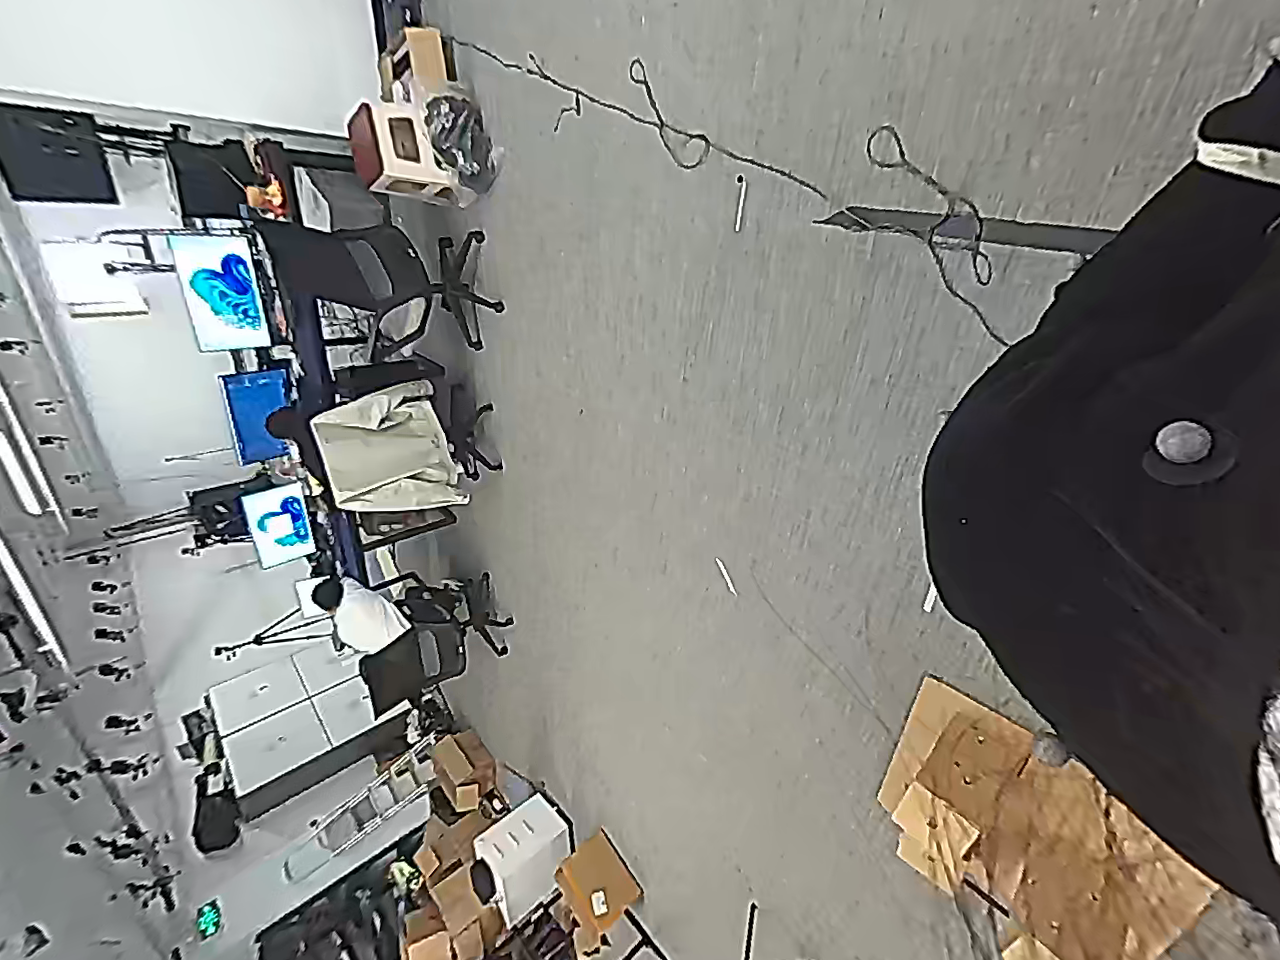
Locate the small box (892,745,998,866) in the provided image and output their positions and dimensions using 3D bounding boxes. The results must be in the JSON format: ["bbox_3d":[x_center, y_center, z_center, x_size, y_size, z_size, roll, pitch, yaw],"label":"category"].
[{"bbox_3d":[0.799,0.845,1.416,0.168,0.176,0.179,32,126,37],"label":"small box"}]

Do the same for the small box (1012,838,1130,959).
[{"bbox_3d":[1.120,1.087,1.401,0.179,0.176,0.168,36,129,32],"label":"small box"}]

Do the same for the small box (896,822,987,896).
[{"bbox_3d":[0.914,1.088,1.642,0.179,0.176,0.168,24,123,42],"label":"small box"}]
